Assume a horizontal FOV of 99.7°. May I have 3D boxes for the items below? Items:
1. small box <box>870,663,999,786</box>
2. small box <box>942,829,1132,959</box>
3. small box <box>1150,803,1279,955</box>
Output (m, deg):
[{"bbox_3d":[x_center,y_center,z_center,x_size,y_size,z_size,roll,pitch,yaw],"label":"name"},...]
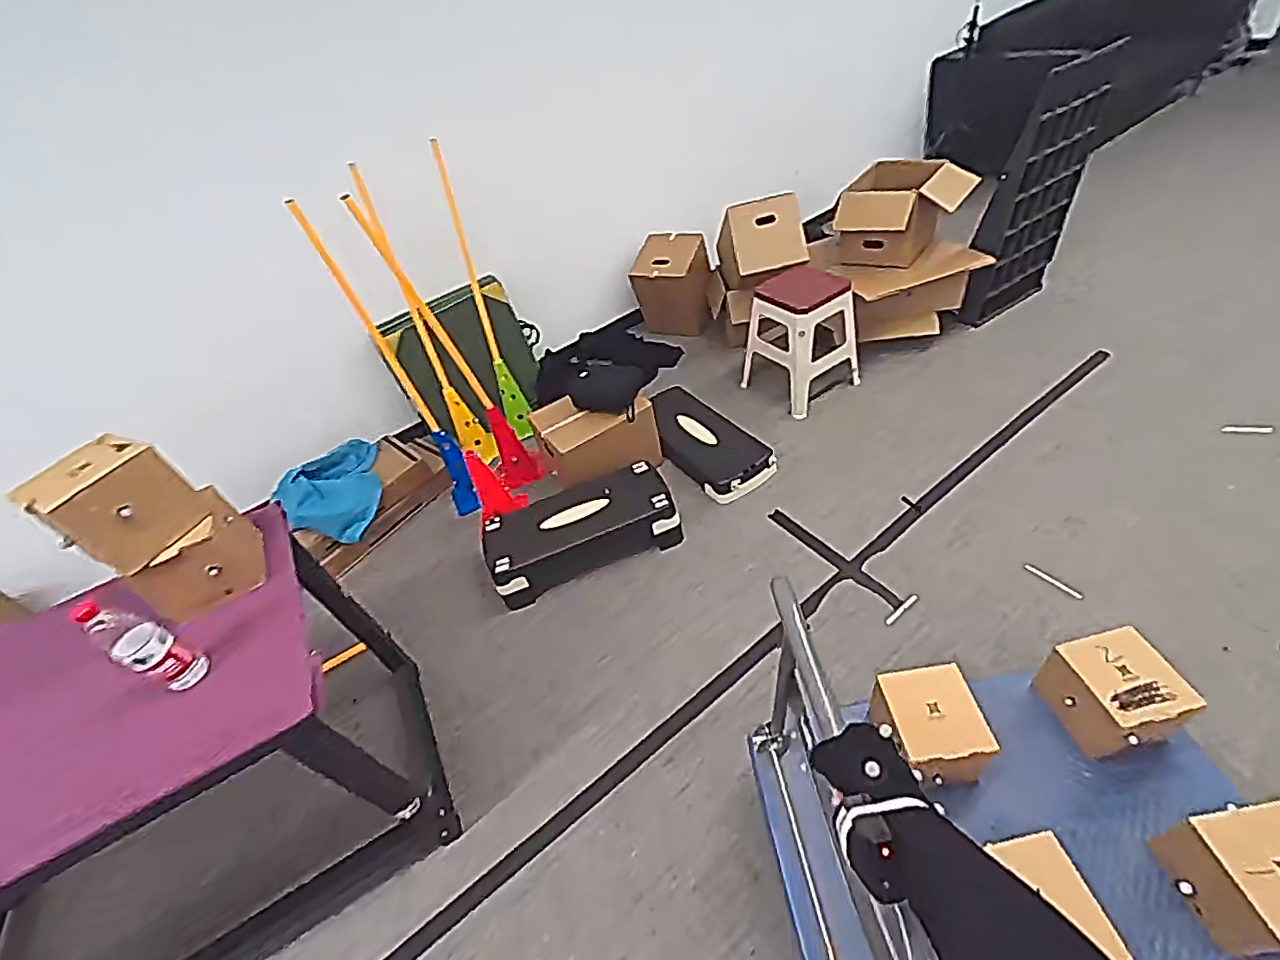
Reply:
[{"bbox_3d":[0.596,0.510,1.125,0.168,0.176,0.179,-10,45,4],"label":"small box"},{"bbox_3d":[0.637,0.717,0.898,0.168,0.176,0.179,-14,43,1],"label":"small box"},{"bbox_3d":[1.003,0.644,0.875,0.179,0.176,0.168,-13,43,4],"label":"small box"}]
